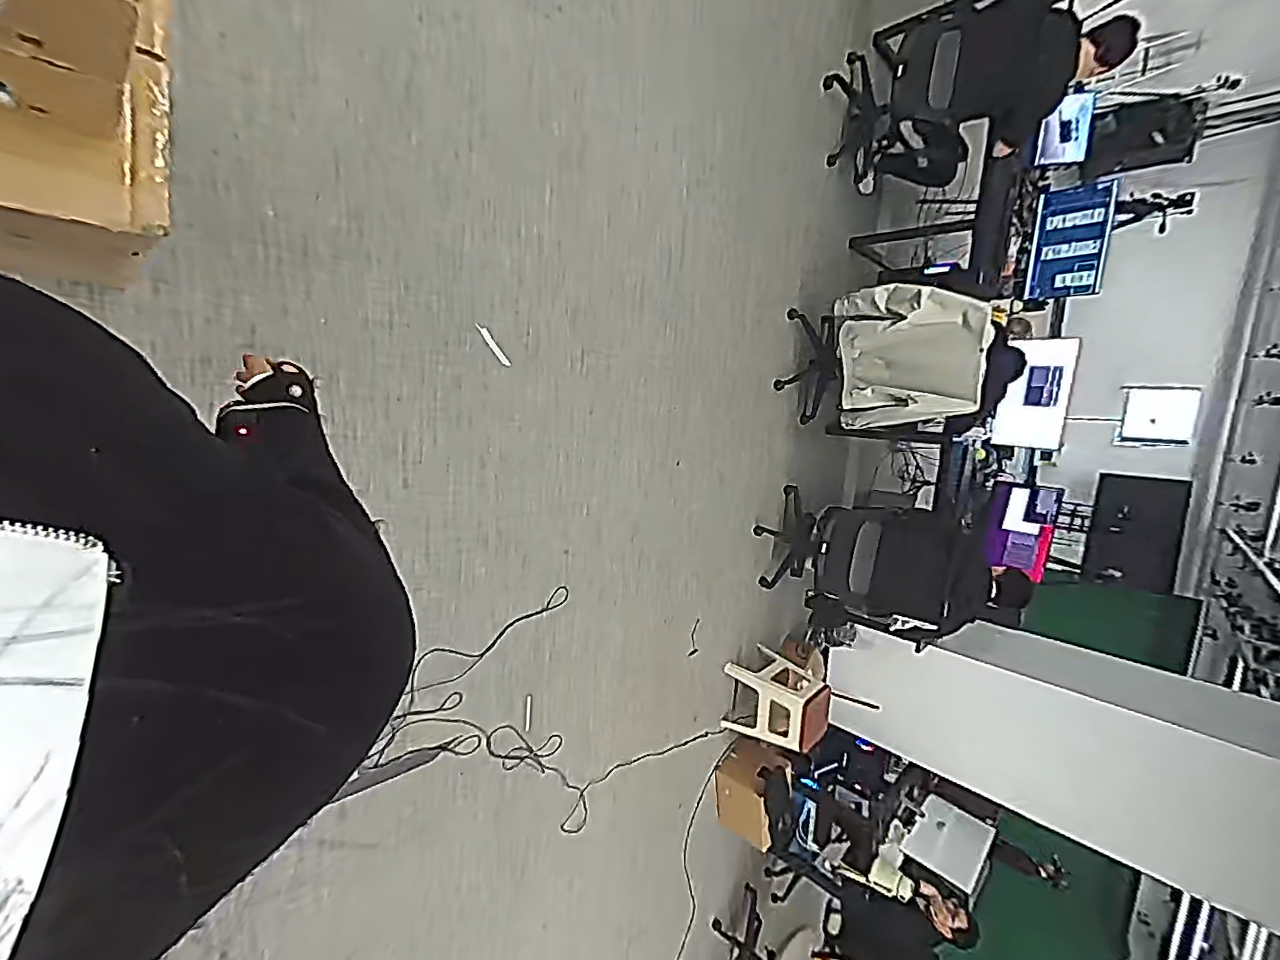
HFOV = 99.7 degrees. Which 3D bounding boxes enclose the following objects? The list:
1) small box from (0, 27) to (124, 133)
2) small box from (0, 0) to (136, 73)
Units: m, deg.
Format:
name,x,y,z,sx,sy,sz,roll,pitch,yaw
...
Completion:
name,x,y,z,sx,sy,sz,roll,pitch,yaw
small box,-0.590,-0.461,0.492,0.168,0.176,0.179,-2,100,-46
small box,-0.469,-0.441,0.383,0.168,0.176,0.179,-1,99,-46
